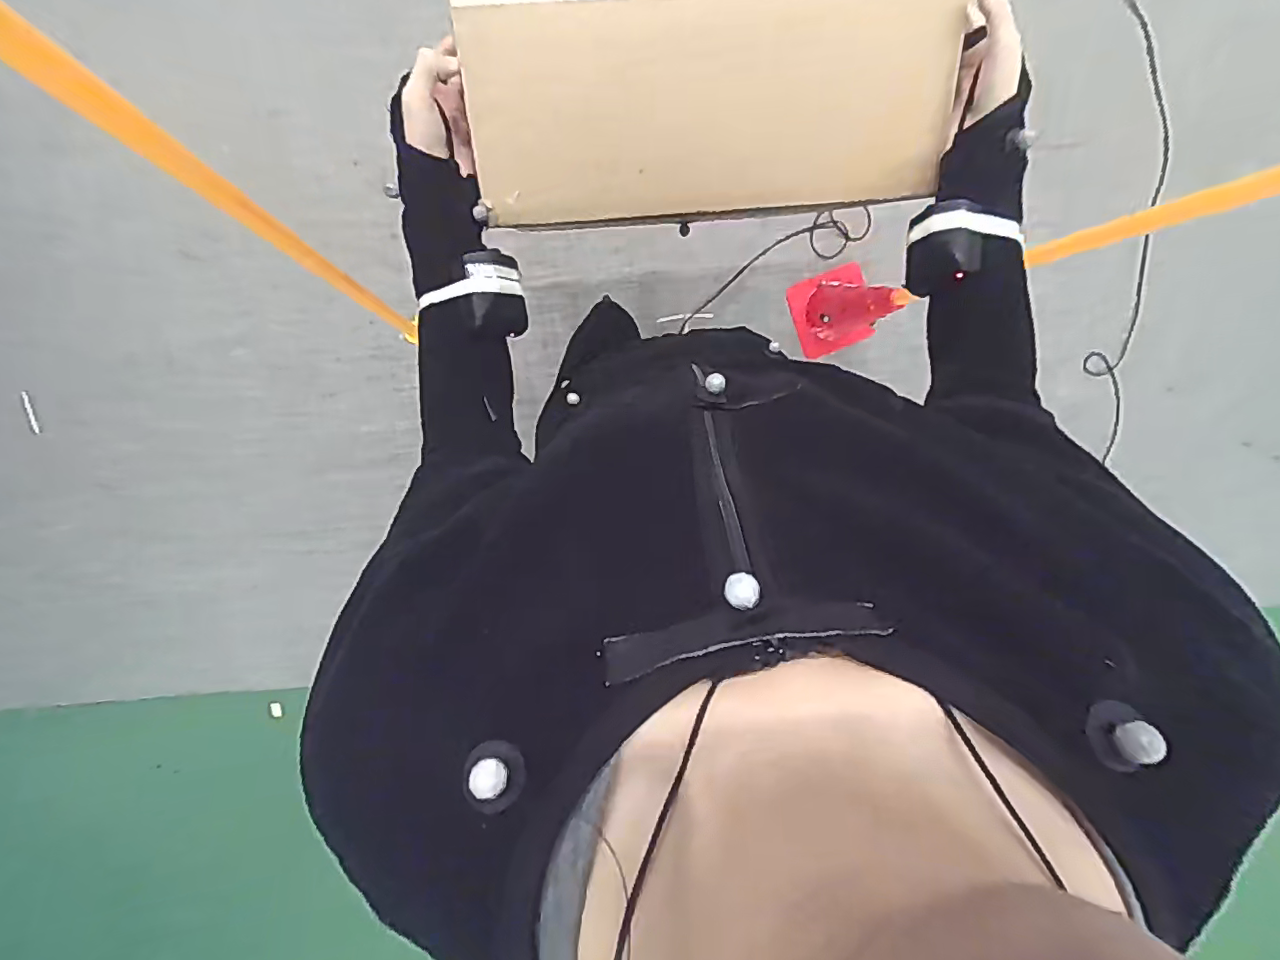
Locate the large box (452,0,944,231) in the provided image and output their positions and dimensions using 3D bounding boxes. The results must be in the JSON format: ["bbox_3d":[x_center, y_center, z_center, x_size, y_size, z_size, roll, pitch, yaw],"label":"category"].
[{"bbox_3d":[0.040,-0.445,0.561,0.408,0.320,0.320,-6,113,-3],"label":"large box"}]
